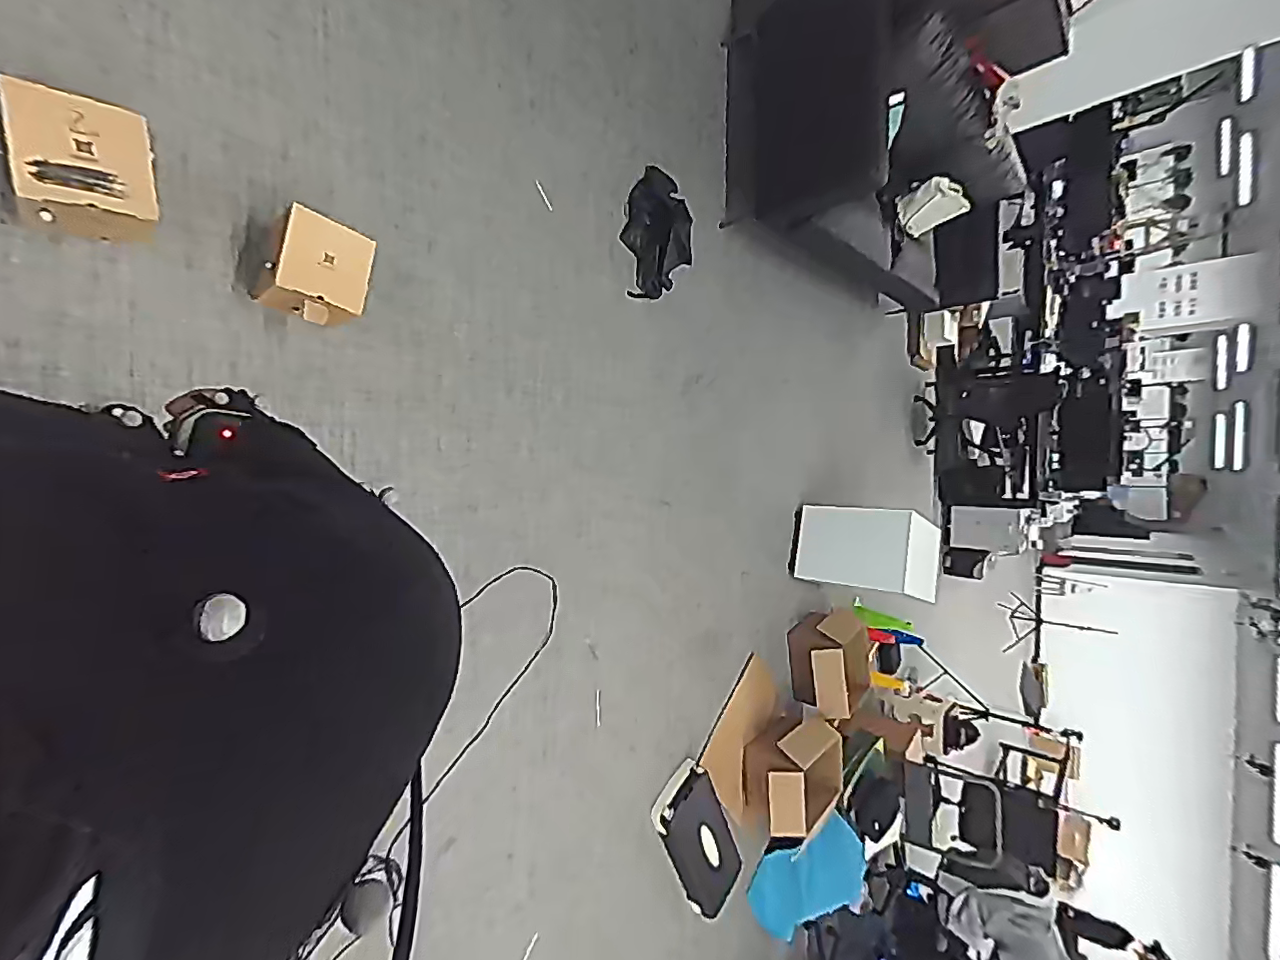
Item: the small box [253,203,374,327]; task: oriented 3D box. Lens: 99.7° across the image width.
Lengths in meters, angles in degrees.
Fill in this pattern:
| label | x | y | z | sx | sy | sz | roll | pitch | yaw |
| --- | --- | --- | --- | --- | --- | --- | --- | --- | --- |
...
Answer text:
| label | x | y | z | sx | sy | sz | roll | pitch | yaw |
| --- | --- | --- | --- | --- | --- | --- | --- | --- | --- |
| small box | -0.705 | -0.451 | 1.165 | 0.168 | 0.176 | 0.179 | 15 | 81 | -47 |
